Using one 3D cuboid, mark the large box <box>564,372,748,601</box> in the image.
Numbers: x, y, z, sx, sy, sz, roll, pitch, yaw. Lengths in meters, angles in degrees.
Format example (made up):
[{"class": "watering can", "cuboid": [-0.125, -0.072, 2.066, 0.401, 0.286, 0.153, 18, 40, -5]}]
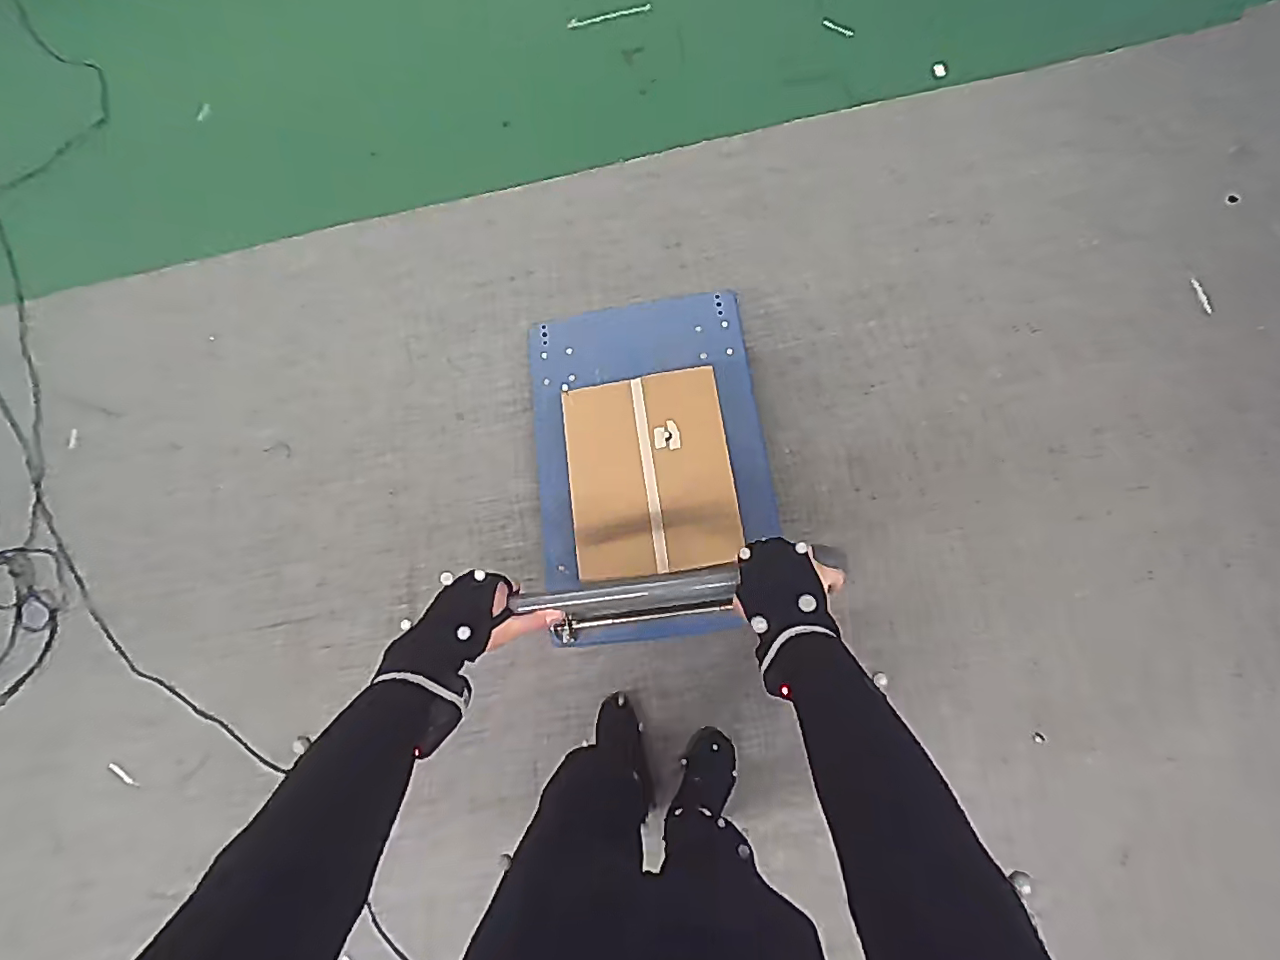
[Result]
[{"class": "large box", "cuboid": [0.039, 0.034, 1.184, 0.320, 0.320, 0.408, -9, 73, 4]}]
